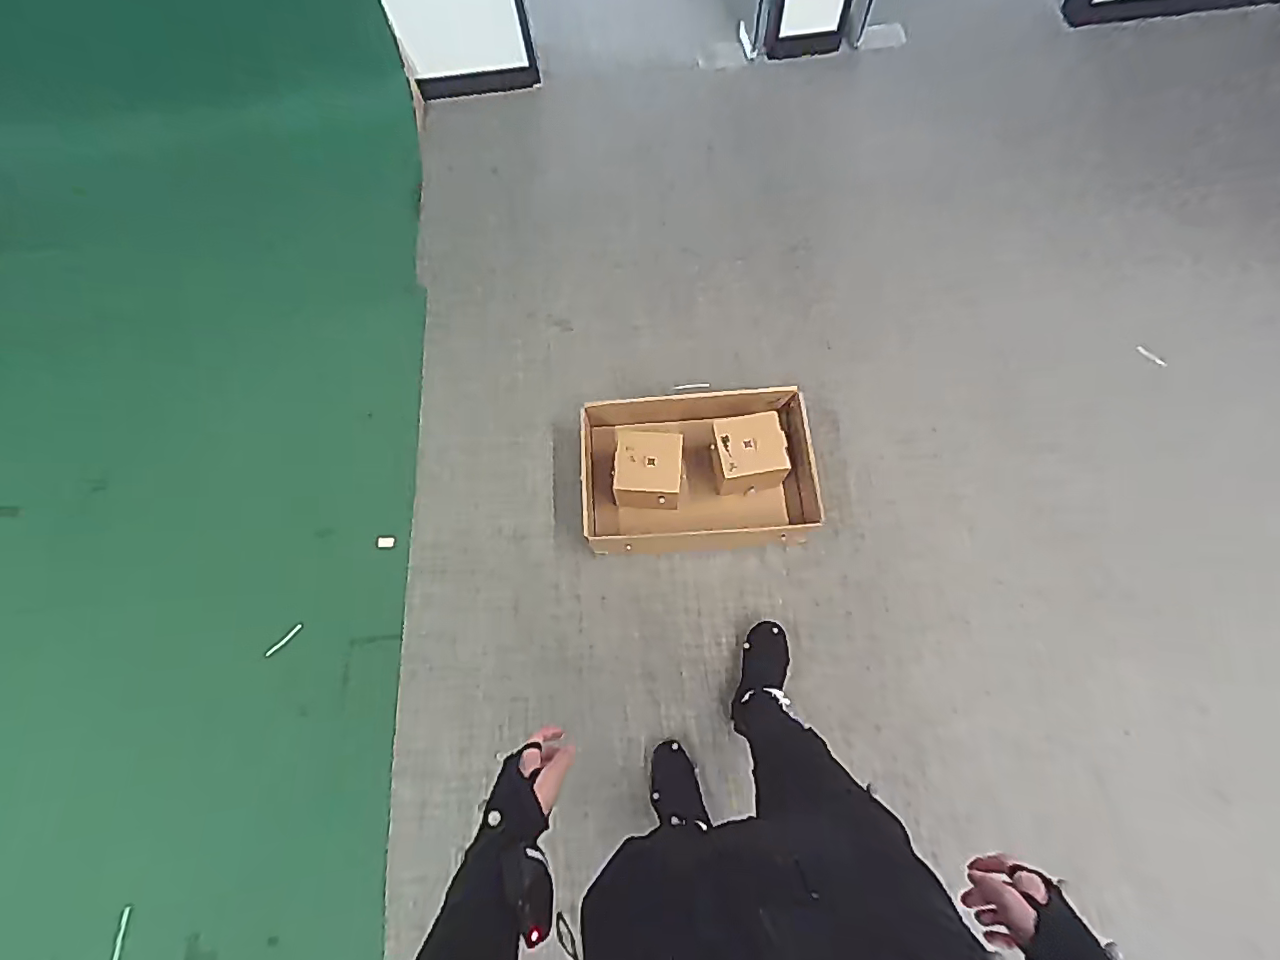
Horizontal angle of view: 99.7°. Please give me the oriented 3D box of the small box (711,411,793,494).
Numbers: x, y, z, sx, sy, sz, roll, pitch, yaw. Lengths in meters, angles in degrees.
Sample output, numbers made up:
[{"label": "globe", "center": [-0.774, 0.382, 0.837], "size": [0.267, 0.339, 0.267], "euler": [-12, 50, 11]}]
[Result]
[{"label": "small box", "center": [0.299, -0.071, 1.474], "size": [0.179, 0.176, 0.168], "euler": [-9, 72, 1]}]
